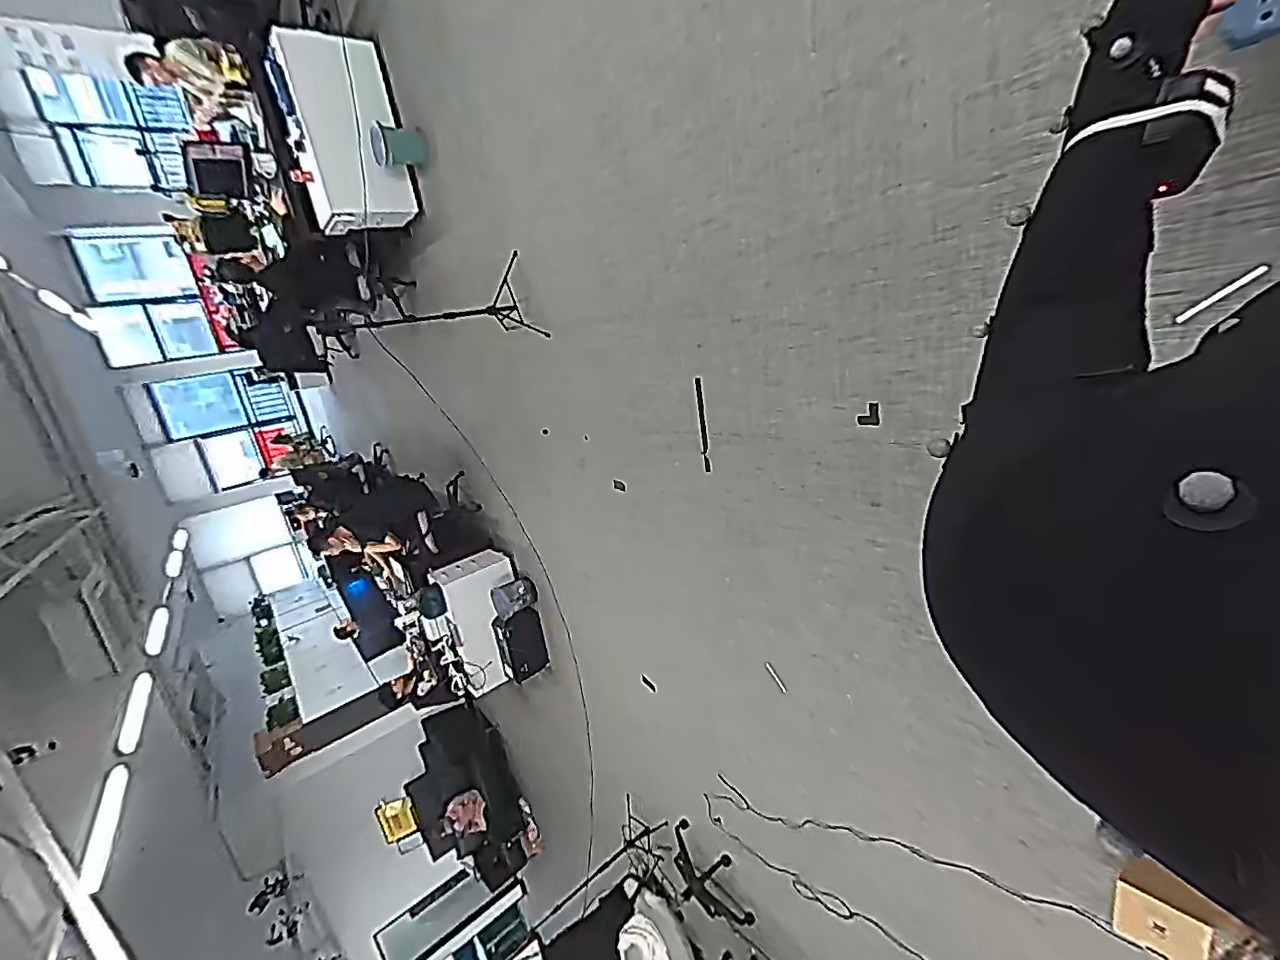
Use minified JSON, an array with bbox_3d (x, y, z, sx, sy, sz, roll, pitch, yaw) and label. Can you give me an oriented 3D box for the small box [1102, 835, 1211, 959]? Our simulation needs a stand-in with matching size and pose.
[{"bbox_3d":[1.286,1.047,1.346,0.168,0.176,0.179,11,115,49],"label":"small box"}]
